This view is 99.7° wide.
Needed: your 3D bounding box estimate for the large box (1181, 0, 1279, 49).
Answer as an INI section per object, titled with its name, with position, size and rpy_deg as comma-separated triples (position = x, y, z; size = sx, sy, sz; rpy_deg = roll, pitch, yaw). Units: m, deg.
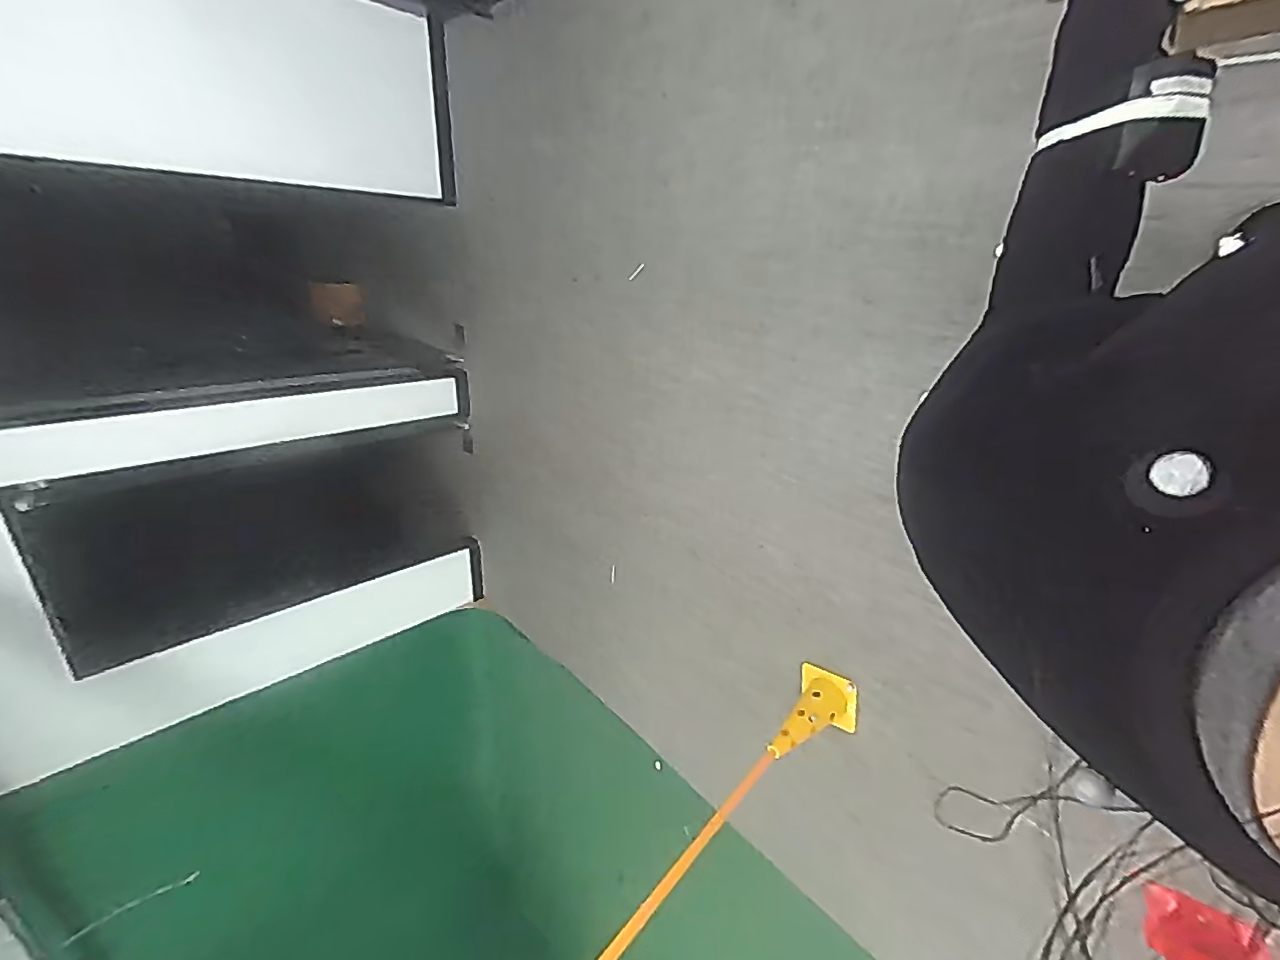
[large box]
position = 0.582, -0.465, 0.260
size = 0.408, 0.320, 0.320
rpy_deg = 14, 124, 39
